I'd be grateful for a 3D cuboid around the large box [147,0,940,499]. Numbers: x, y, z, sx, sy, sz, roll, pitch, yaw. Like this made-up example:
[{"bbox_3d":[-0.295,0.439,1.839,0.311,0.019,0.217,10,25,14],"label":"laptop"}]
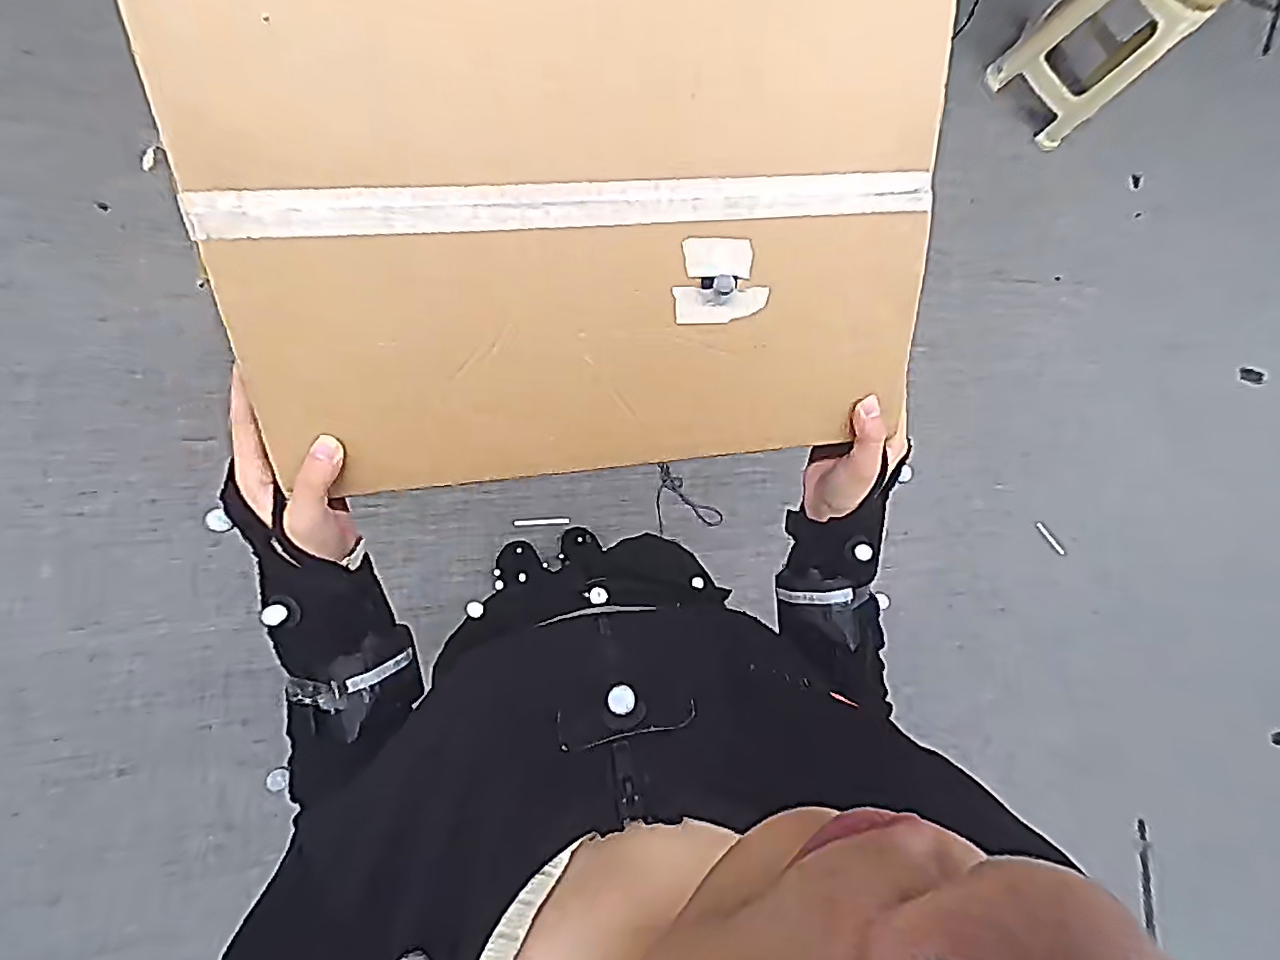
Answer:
[{"bbox_3d":[-0.052,-0.207,0.441,0.408,0.320,0.320,-7,113,-10],"label":"large box"}]
